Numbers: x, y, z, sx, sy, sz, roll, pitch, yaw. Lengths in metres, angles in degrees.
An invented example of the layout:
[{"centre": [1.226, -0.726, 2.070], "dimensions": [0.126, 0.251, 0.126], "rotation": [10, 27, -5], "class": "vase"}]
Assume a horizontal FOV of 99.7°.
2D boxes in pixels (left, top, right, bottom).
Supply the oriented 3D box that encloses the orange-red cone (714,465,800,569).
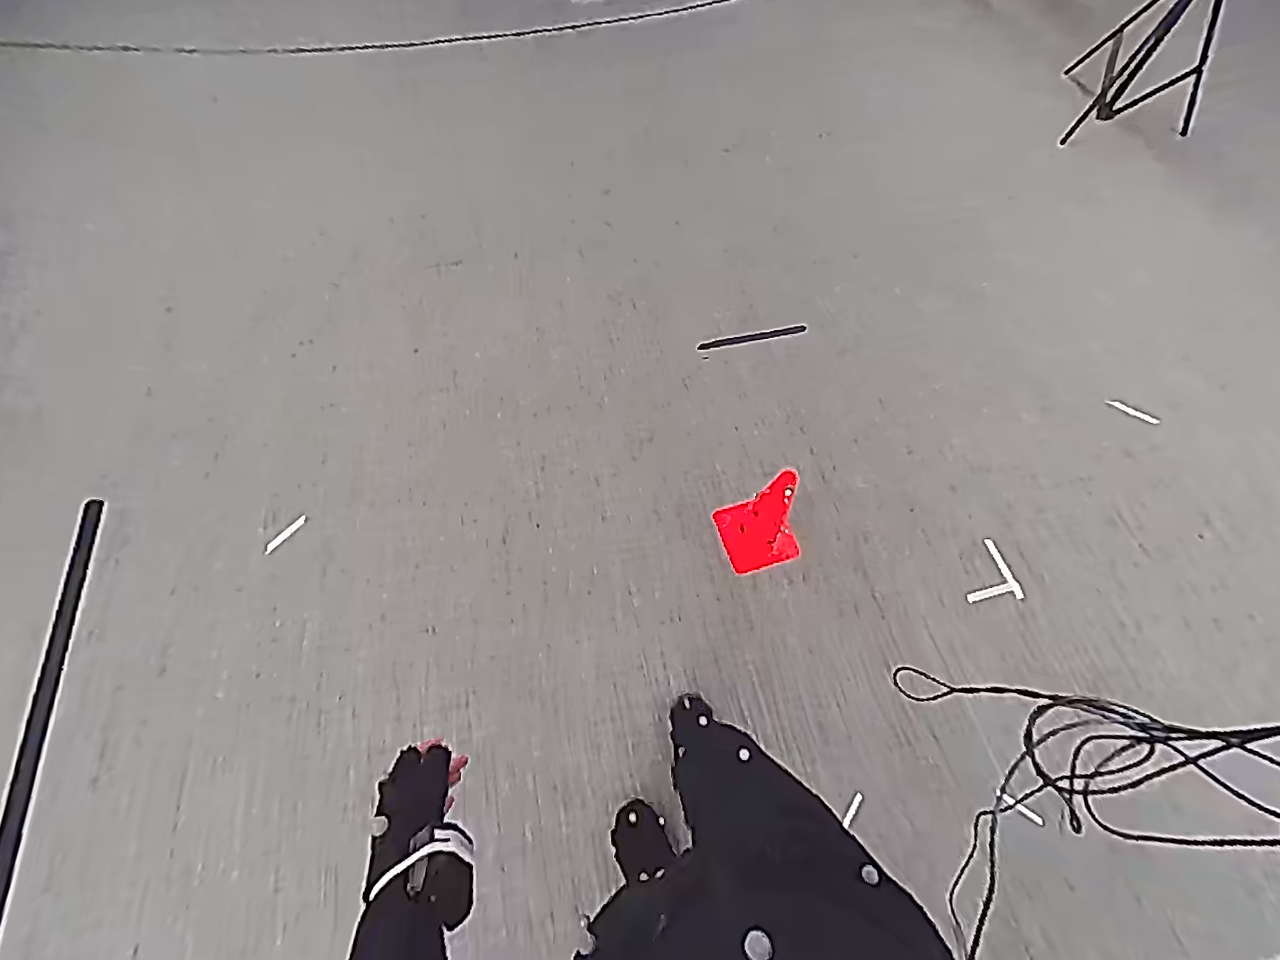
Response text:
[{"centre": [0.325, 0.063, 1.355], "dimensions": [0.199, 0.360, 0.198], "rotation": [-15, 64, -7], "class": "orange-red cone"}]
